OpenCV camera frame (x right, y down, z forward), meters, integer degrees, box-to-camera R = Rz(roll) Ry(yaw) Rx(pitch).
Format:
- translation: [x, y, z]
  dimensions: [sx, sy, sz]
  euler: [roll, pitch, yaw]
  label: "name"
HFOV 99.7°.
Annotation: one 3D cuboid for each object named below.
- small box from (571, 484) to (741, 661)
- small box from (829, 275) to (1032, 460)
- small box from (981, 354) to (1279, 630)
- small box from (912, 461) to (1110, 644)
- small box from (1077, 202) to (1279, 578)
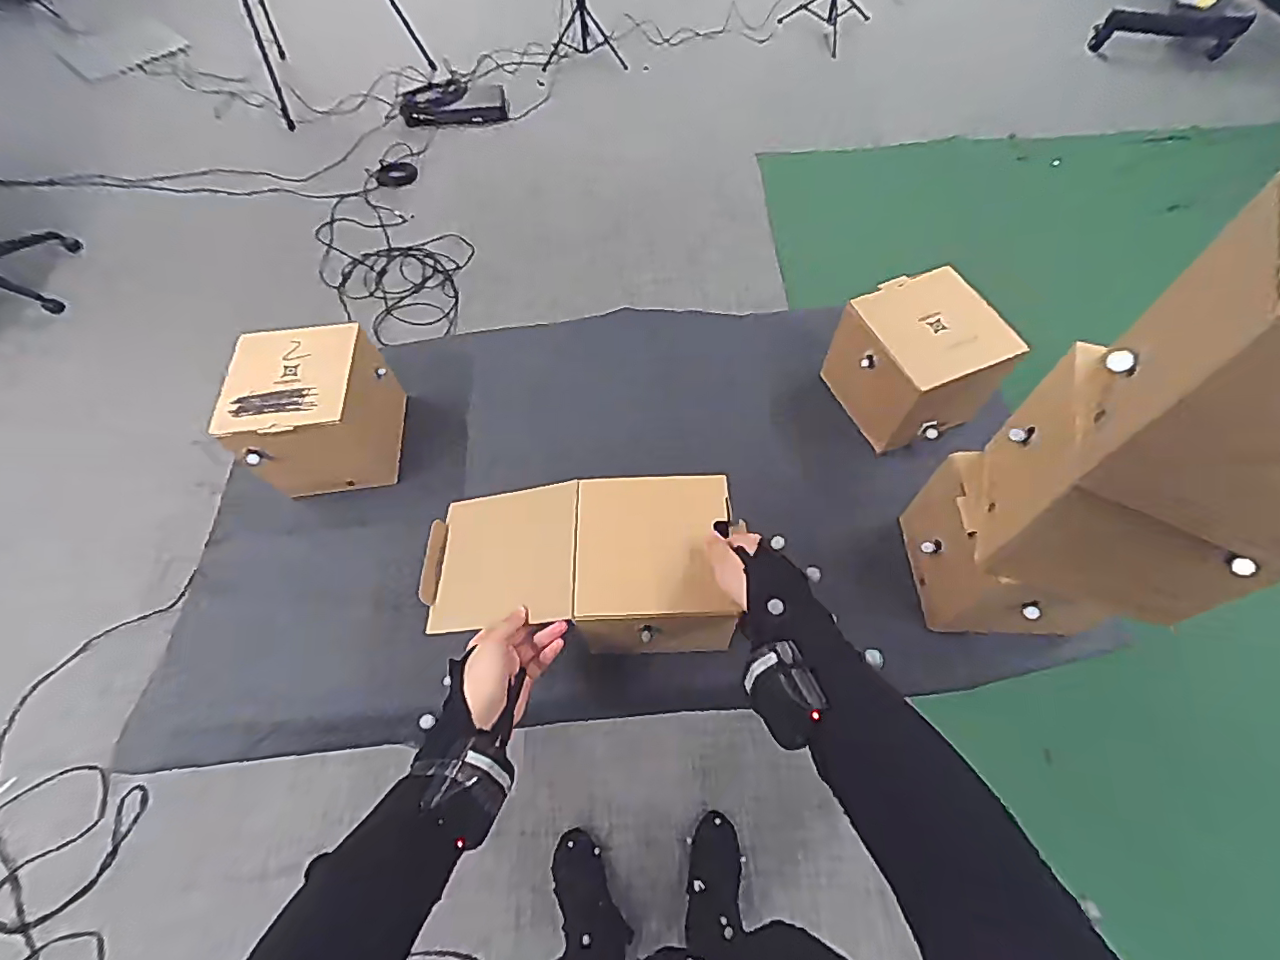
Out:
- translation: [0.021, 0.118, 0.652]
  dimensions: [0.179, 0.176, 0.168]
  euler: [-2, 61, 2]
  label: "small box"
- translation: [0.405, -0.159, 0.796]
  dimensions: [0.168, 0.176, 0.179]
  euler: [-22, 64, -6]
  label: "small box"
- translation: [0.449, 0.018, 0.501]
  dimensions: [0.179, 0.176, 0.168]
  euler: [19, 60, 13]
  label: "small box"
- translation: [0.451, 0.091, 0.648]
  dimensions: [0.179, 0.176, 0.168]
  euler: [0, 57, 3]
  label: "small box"
- translation: [0.443, -0.050, 0.349]
  dimensions: [0.179, 0.176, 0.168]
  euler: [28, 62, 19]
  label: "small box"
